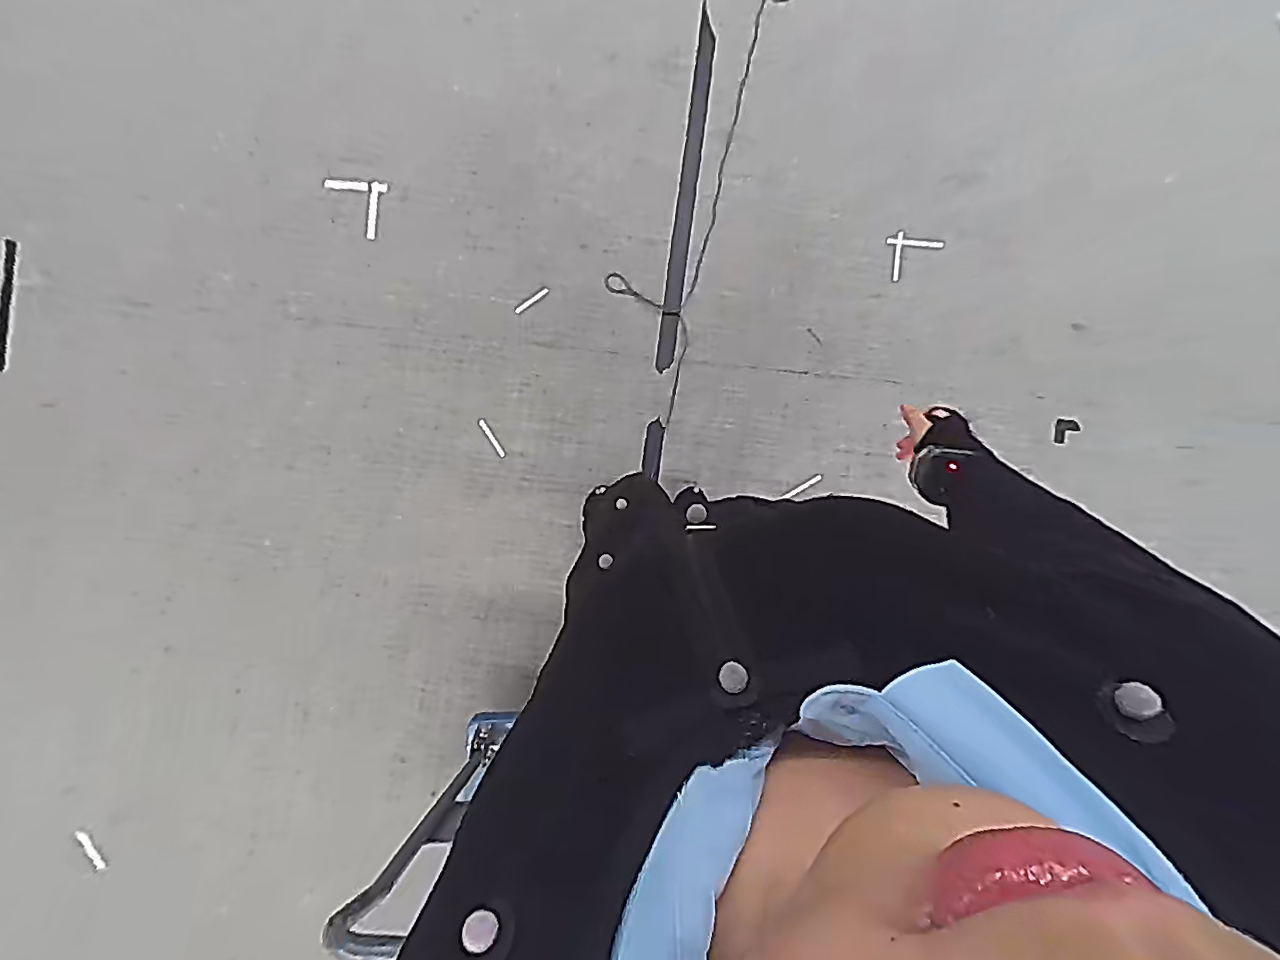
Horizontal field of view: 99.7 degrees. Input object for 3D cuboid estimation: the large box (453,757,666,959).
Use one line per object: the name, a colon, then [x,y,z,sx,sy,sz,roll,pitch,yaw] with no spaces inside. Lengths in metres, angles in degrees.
large box: [-0.149,0.825,1.168,0.408,0.320,0.320,0,88,2]
